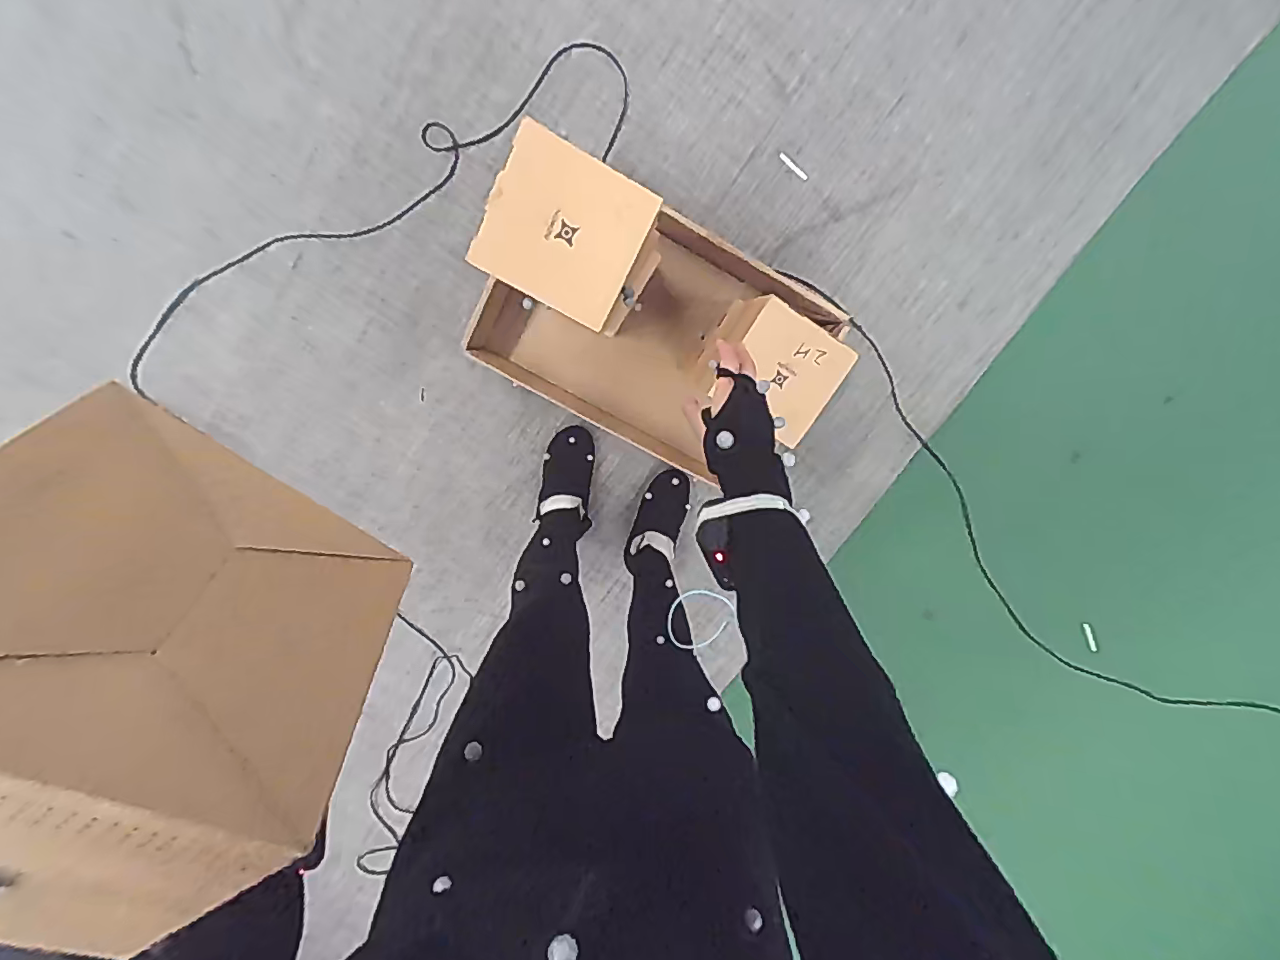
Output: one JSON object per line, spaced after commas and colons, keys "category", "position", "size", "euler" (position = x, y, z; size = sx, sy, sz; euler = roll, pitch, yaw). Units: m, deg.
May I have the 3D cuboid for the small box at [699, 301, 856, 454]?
{"category": "small box", "position": [0.212, -0.171, 0.897], "size": [0.168, 0.176, 0.179], "euler": [32, 100, -10]}

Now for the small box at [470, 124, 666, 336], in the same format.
{"category": "small box", "position": [-0.083, -0.302, 0.690], "size": [0.179, 0.176, 0.168], "euler": [28, 103, -7]}

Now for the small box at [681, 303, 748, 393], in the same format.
{"category": "small box", "position": [0.195, -0.220, 1.054], "size": [0.179, 0.176, 0.168], "euler": [32, 101, -9]}
